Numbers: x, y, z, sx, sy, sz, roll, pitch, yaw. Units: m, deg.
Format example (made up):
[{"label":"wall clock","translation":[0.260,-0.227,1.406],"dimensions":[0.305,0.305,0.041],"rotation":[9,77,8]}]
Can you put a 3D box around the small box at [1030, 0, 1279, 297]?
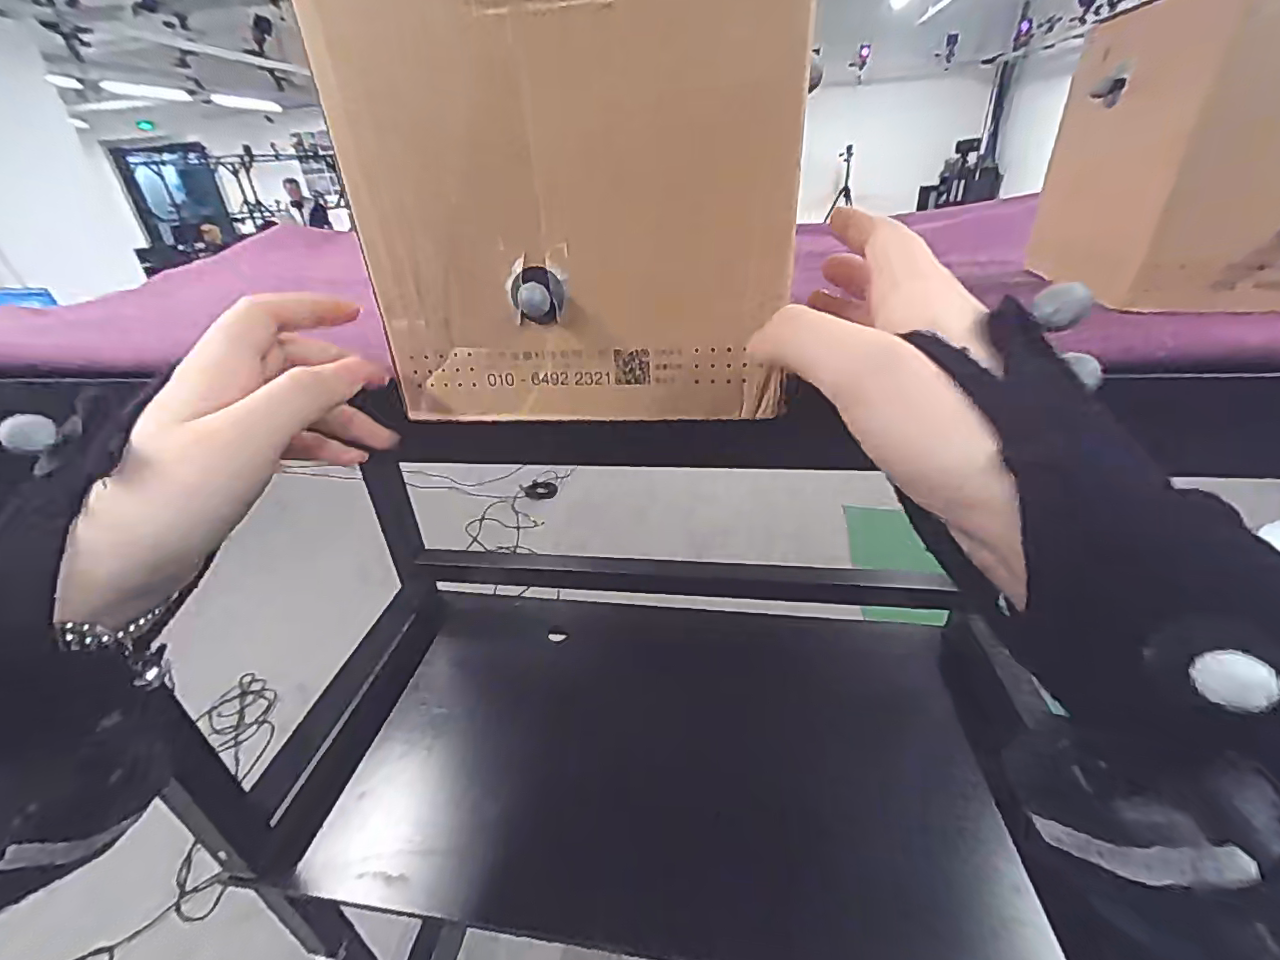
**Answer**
[{"label":"small box","translation":[0.382,-0.217,0.338],"dimensions":[0.168,0.176,0.179],"rotation":[3,32,14]}]

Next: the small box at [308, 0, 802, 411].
[{"label":"small box","translation":[-0.022,-0.144,0.267],"dimensions":[0.168,0.176,0.179],"rotation":[0,31,7]}]
